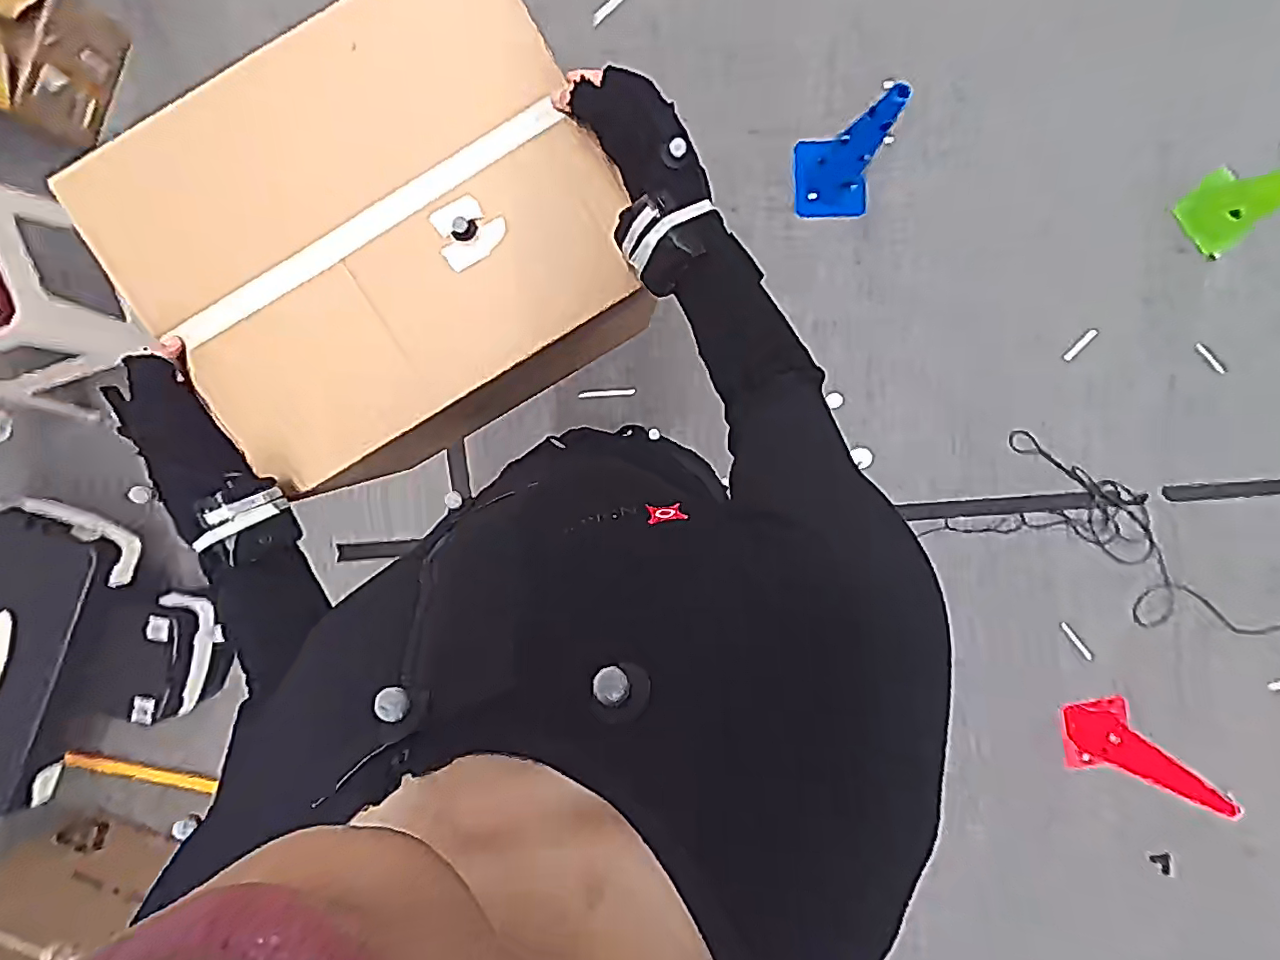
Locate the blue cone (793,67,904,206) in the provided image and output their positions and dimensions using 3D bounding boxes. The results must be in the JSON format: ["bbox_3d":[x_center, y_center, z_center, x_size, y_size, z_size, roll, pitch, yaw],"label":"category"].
[{"bbox_3d":[0.521,-0.835,1.304,0.193,0.380,0.192,-2,92,-4],"label":"blue cone"}]

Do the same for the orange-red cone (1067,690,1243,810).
[{"bbox_3d":[1.371,0.735,1.428,0.199,0.360,0.198,-7,95,-4],"label":"orange-red cone"}]

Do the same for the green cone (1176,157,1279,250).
[{"bbox_3d":[1.650,-0.775,1.357,0.200,0.368,0.202,-42,93,-1],"label":"green cone"}]
